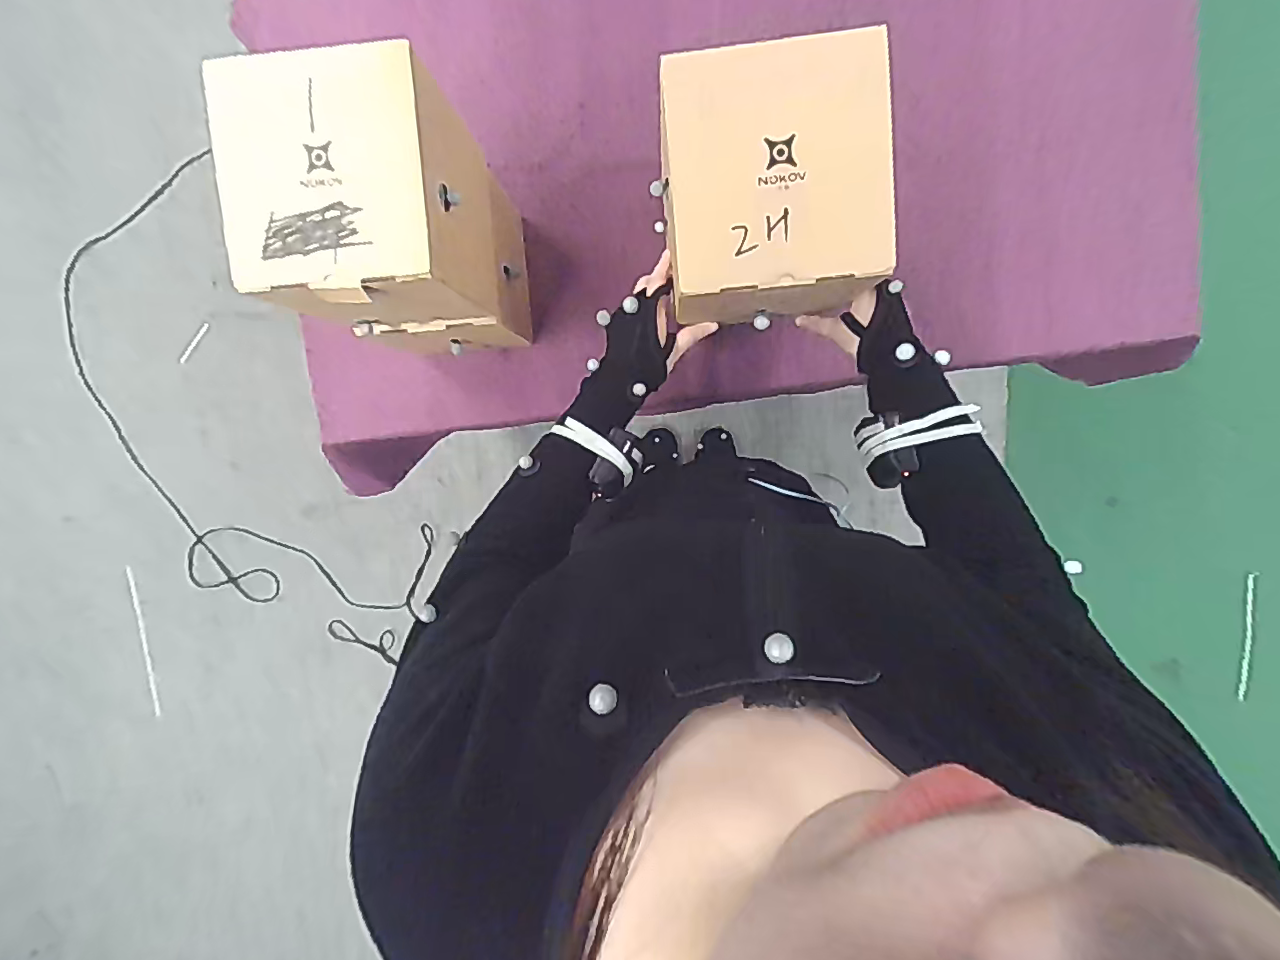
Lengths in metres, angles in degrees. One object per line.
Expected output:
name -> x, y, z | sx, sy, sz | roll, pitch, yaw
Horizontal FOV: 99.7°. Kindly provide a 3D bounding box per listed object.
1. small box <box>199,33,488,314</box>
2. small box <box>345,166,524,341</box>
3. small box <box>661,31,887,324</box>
small box -> -0.247, -0.254, 0.496 | 0.168, 0.176, 0.179 | -3, 96, 2
small box -> -0.245, -0.266, 0.661 | 0.168, 0.176, 0.179 | -3, 97, 1
small box -> 0.105, -0.247, 0.486 | 0.168, 0.176, 0.179 | -4, 98, 3
